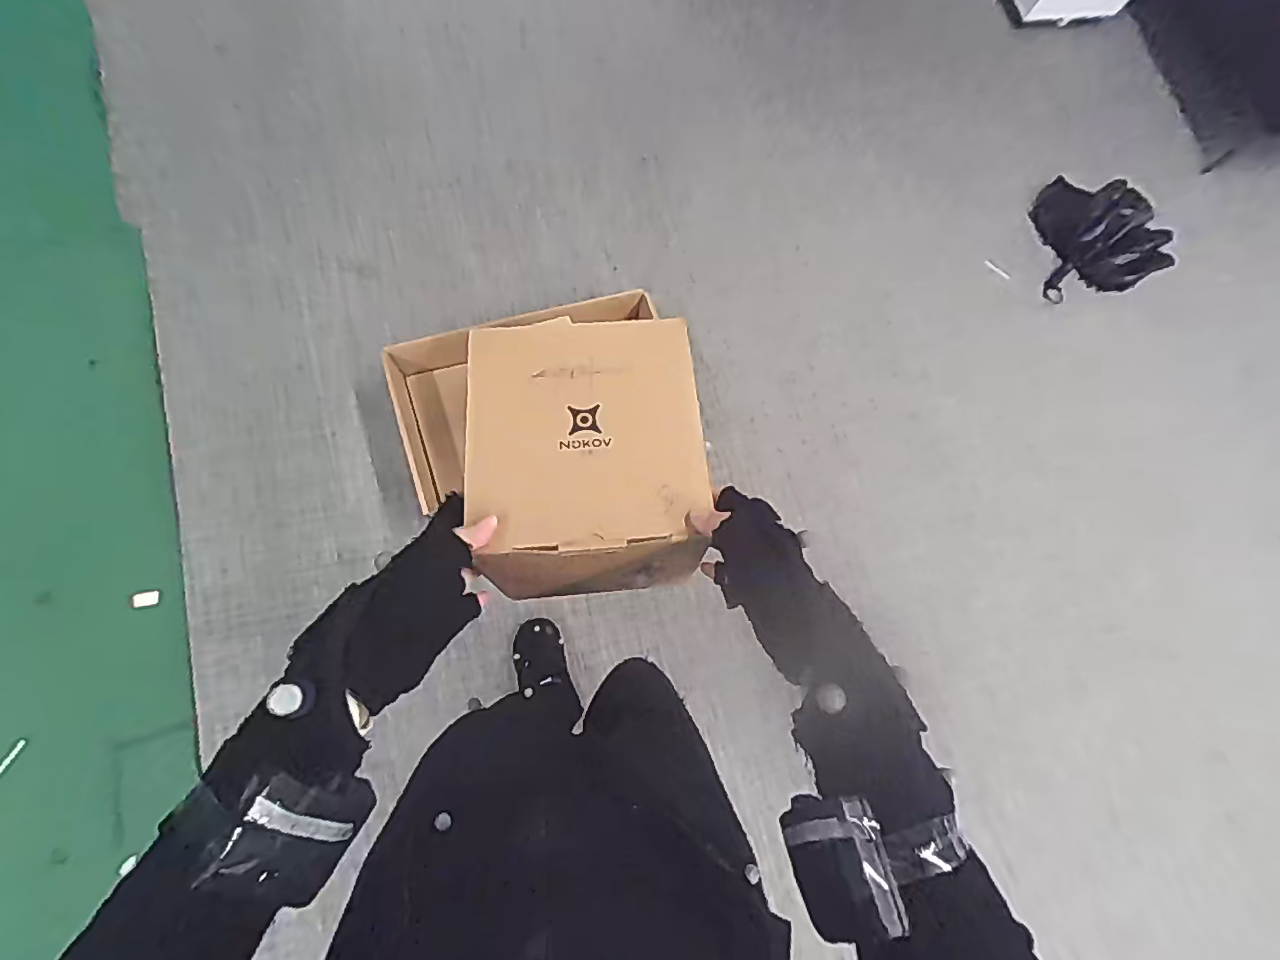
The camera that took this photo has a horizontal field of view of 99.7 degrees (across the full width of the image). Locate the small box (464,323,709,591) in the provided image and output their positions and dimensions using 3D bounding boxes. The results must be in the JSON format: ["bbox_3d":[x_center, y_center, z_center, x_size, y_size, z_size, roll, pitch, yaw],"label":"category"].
[{"bbox_3d":[-0.045,-0.007,0.460,0.168,0.176,0.179,-4,66,-6],"label":"small box"}]
